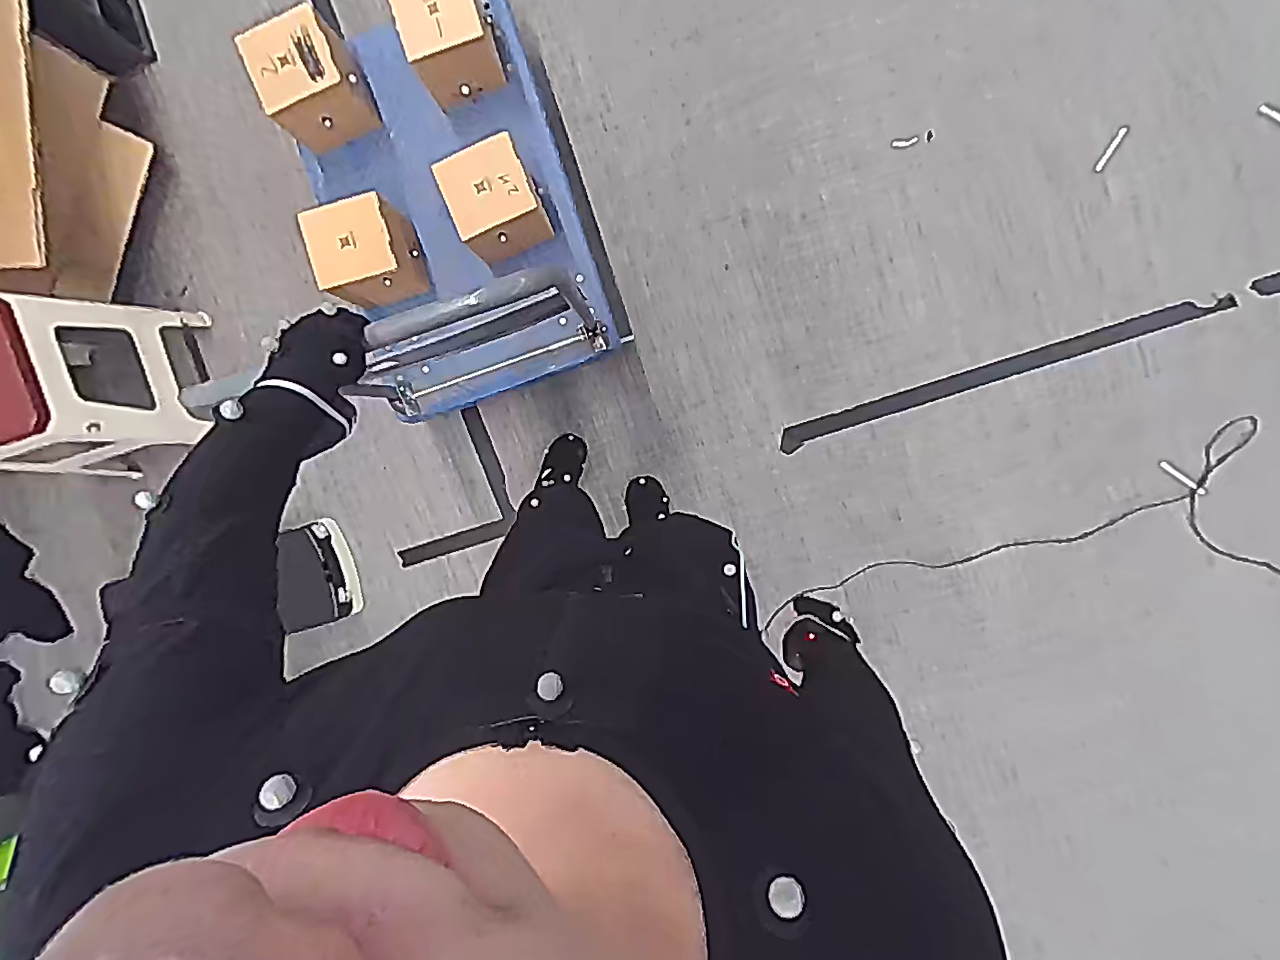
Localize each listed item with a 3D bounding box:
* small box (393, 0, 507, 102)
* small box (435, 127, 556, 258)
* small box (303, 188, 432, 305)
[{"bbox_3d":[-0.403,-0.958,1.147,0.168,0.176,0.179,-17,95,4],"label":"small box"},{"bbox_3d":[-0.304,-0.610,1.174,0.179,0.176,0.168,-22,94,5],"label":"small box"},{"bbox_3d":[-0.594,-0.506,1.199,0.179,0.176,0.168,-16,94,2],"label":"small box"}]
